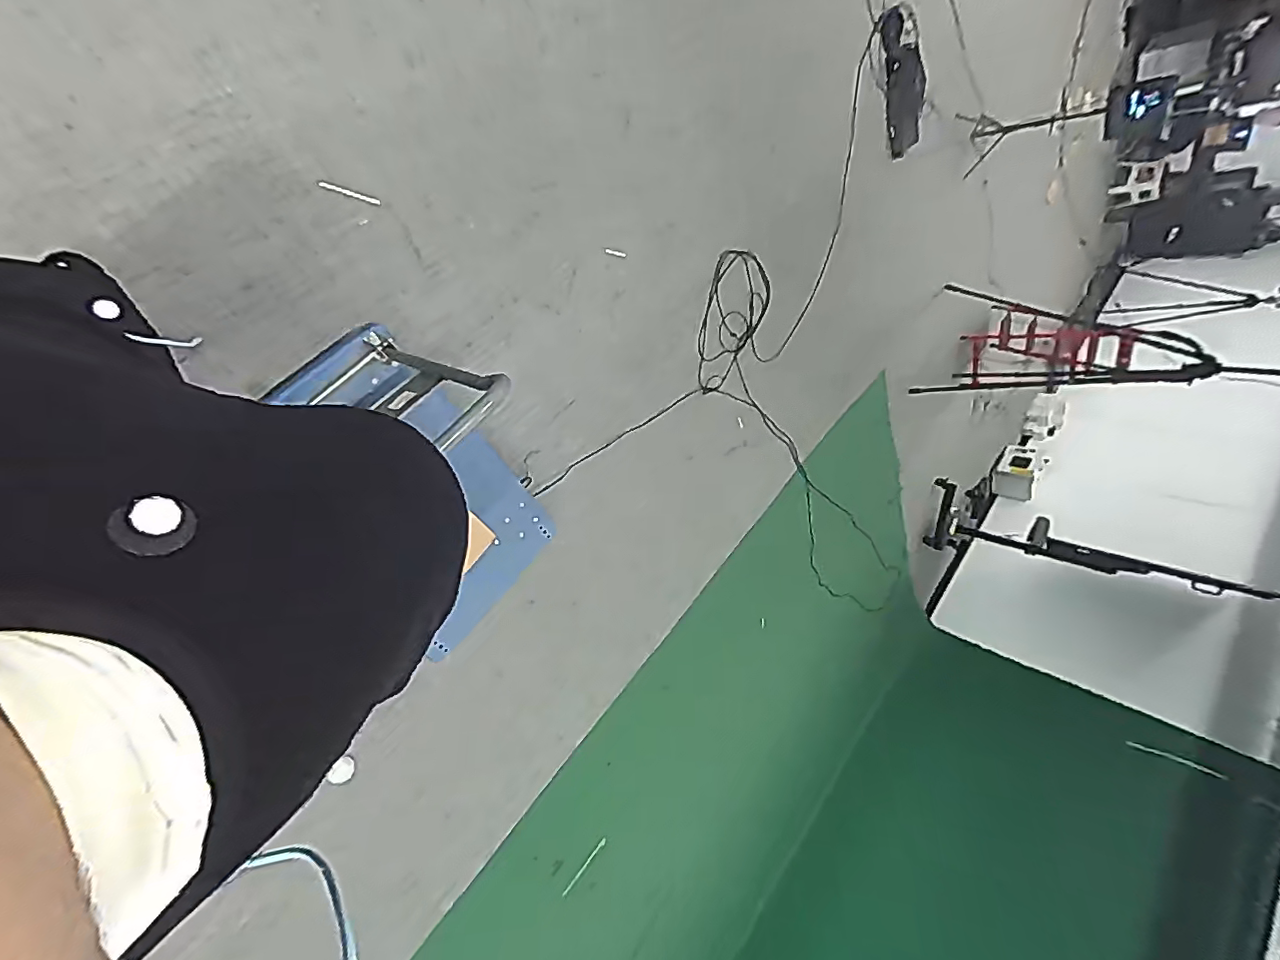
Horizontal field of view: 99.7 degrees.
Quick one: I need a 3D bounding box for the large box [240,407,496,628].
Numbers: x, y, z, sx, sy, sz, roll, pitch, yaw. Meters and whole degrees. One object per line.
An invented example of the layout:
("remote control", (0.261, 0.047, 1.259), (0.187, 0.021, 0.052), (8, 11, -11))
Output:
("large box", (-0.643, 0.083, 1.305), (0.320, 0.320, 0.408), (-50, 132, -19))
